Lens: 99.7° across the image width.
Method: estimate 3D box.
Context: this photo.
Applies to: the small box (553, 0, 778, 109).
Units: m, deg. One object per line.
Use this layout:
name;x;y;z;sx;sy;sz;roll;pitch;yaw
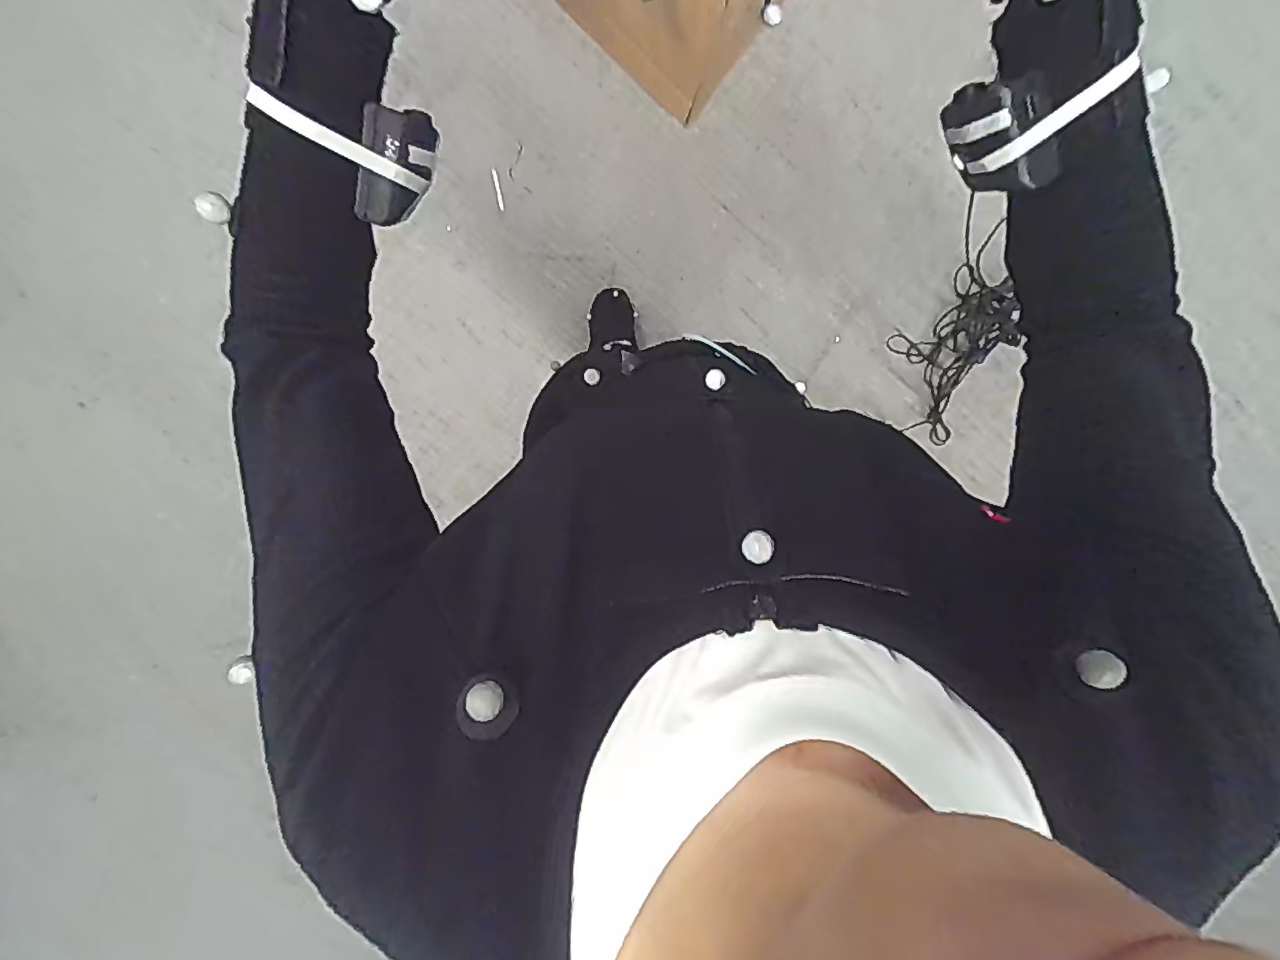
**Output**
small box;0.020;-0.366;0.308;0.179;0.176;0.168;39;99;-12
